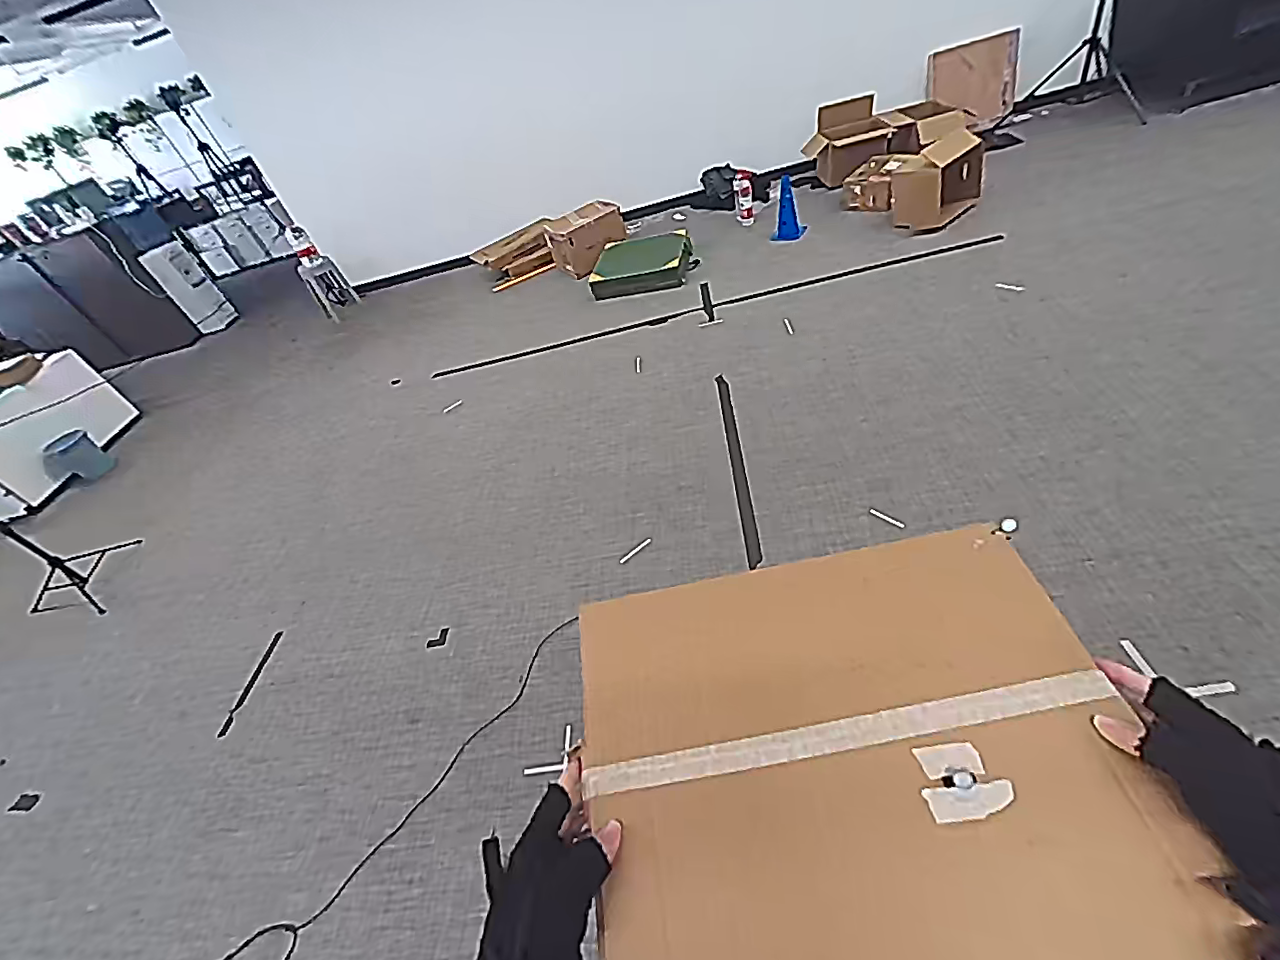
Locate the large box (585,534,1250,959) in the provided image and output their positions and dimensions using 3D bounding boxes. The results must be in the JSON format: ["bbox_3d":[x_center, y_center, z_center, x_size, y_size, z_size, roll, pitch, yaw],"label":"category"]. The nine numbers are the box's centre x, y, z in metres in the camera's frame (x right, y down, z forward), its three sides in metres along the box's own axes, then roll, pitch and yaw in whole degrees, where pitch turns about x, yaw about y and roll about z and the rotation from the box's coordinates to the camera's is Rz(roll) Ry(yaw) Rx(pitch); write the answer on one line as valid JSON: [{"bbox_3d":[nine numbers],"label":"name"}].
[{"bbox_3d":[0.183,0.303,0.542,0.408,0.320,0.320,-12,49,3],"label":"large box"}]
